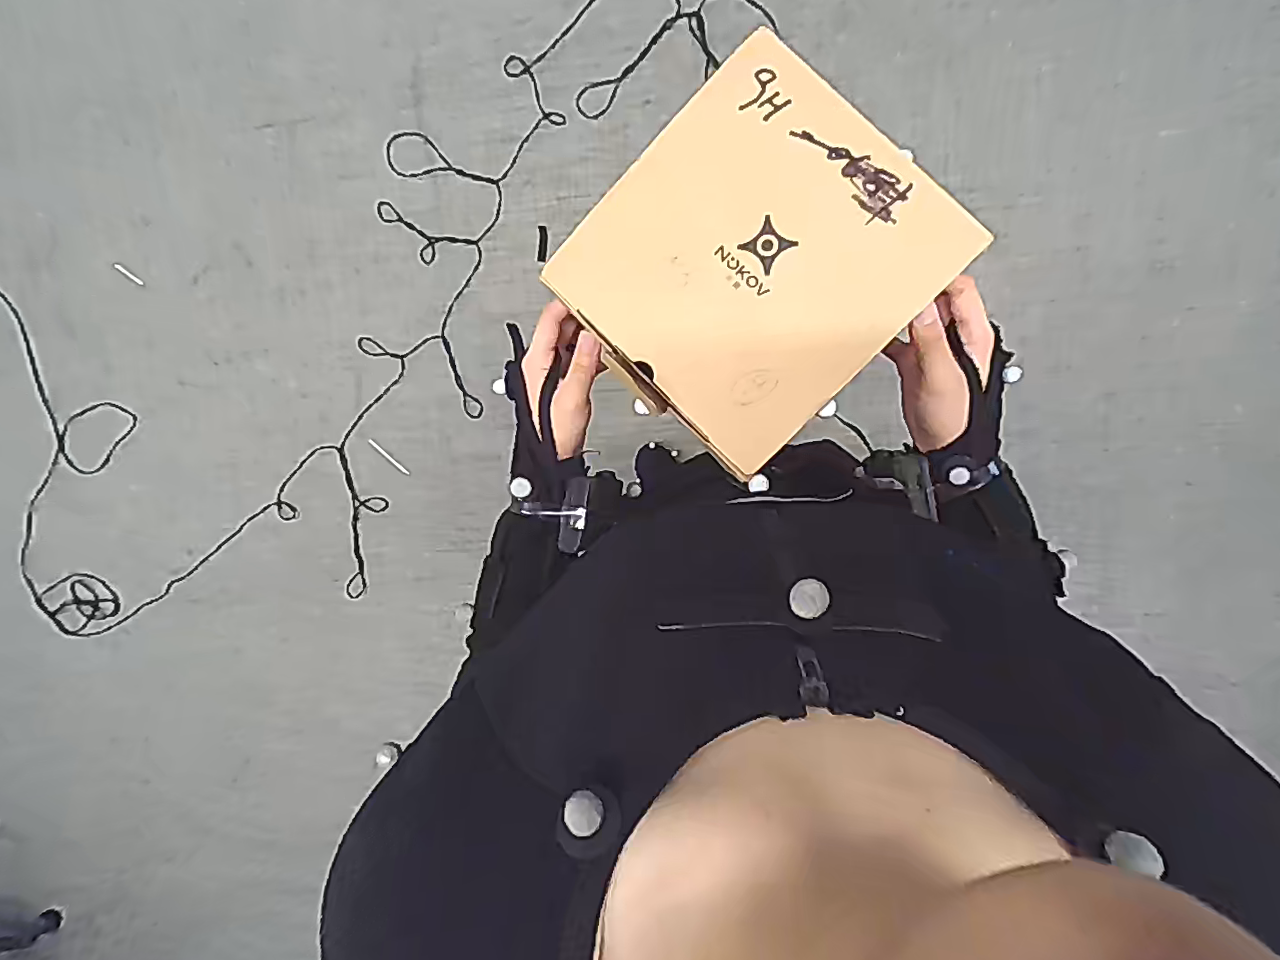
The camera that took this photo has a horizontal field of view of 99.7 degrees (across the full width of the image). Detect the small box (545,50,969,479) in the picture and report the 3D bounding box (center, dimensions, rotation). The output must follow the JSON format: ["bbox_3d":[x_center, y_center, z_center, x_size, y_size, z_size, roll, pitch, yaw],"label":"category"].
[{"bbox_3d":[0.070,-0.120,0.376,0.168,0.176,0.179,45,98,3],"label":"small box"}]
